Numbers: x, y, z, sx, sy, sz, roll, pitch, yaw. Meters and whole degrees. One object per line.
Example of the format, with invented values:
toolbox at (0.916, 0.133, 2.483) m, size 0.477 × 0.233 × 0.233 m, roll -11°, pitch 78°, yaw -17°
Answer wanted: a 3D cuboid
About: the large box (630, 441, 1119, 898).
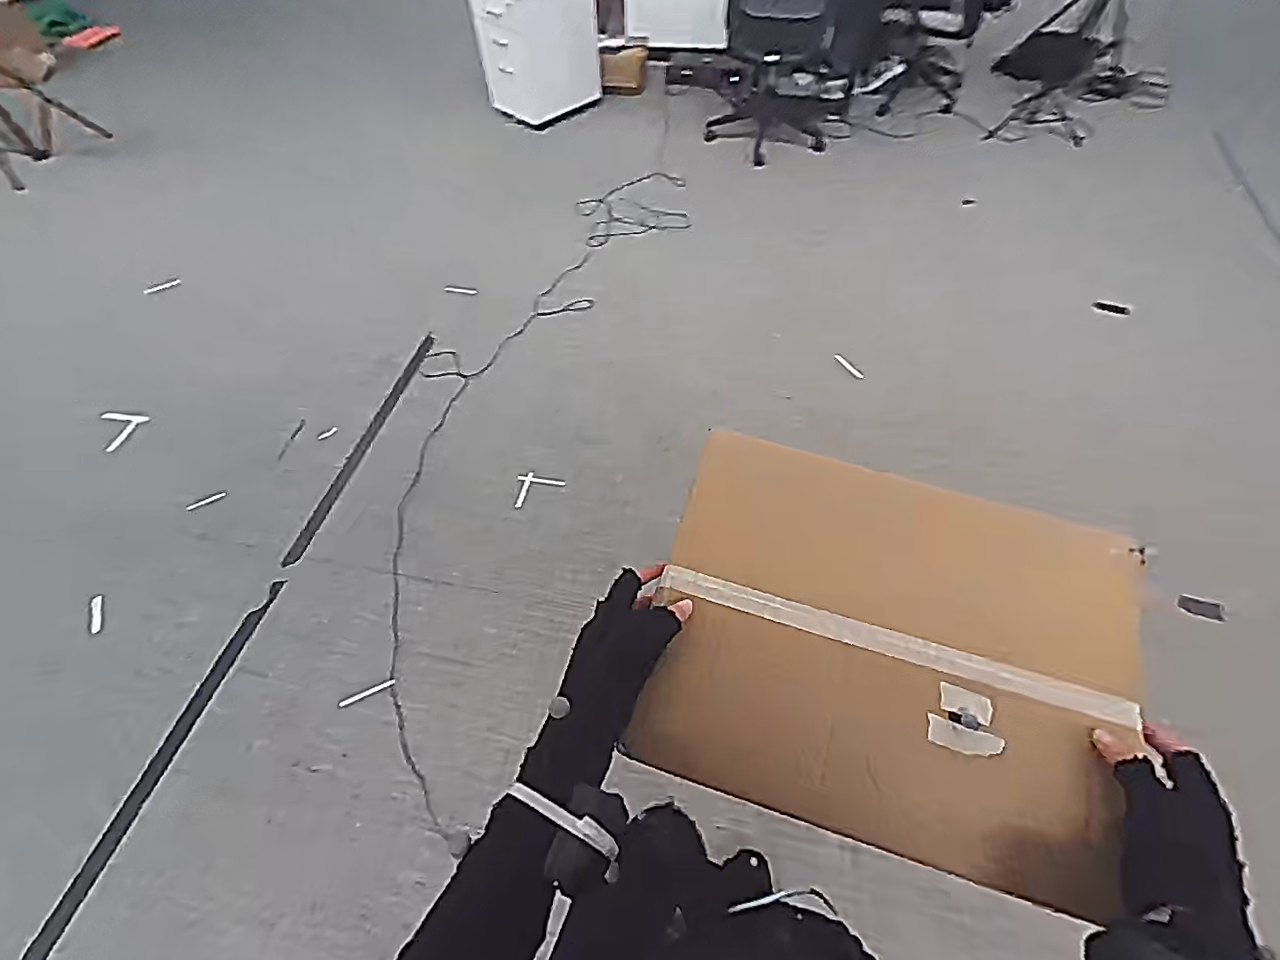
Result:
large box at (0.224, 0.192, 0.633) m, size 0.408 × 0.320 × 0.320 m, roll 15°, pitch 73°, yaw 7°
